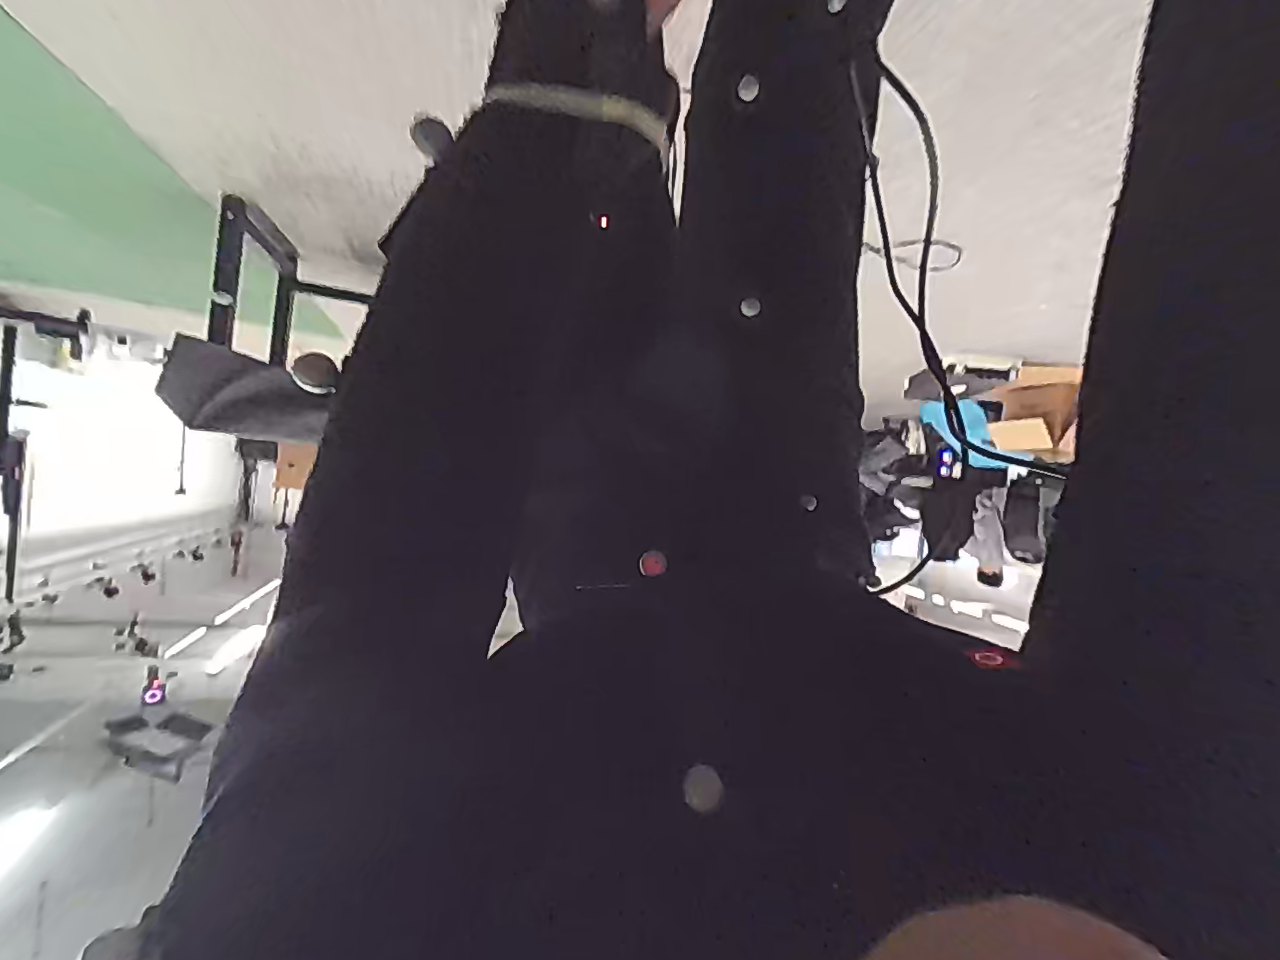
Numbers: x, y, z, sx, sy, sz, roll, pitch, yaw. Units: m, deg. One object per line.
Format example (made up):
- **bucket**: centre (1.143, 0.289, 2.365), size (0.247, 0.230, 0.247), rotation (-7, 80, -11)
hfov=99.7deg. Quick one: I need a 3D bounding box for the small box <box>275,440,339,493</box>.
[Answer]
- **small box**: centre (-1.184, -0.050, 1.925), size (0.179, 0.176, 0.168), rotation (5, -177, -32)
